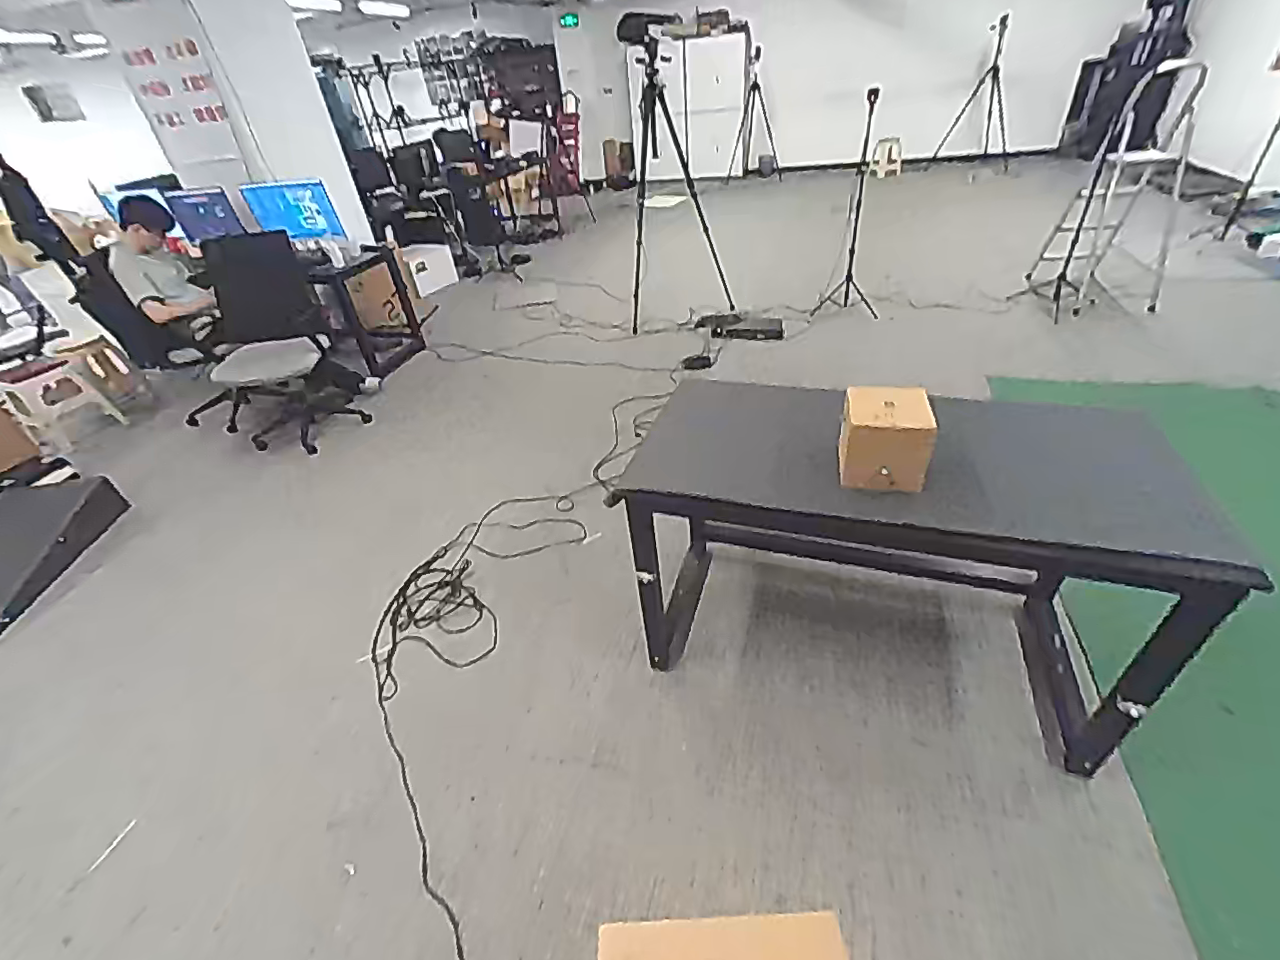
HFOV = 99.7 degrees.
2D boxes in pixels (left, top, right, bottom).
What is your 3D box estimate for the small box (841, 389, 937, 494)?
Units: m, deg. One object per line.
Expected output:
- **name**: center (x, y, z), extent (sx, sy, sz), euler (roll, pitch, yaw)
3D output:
- **small box**: center (0.550, -0.090, 1.218), extent (0.168, 0.176, 0.179), euler (4, 36, 16)
